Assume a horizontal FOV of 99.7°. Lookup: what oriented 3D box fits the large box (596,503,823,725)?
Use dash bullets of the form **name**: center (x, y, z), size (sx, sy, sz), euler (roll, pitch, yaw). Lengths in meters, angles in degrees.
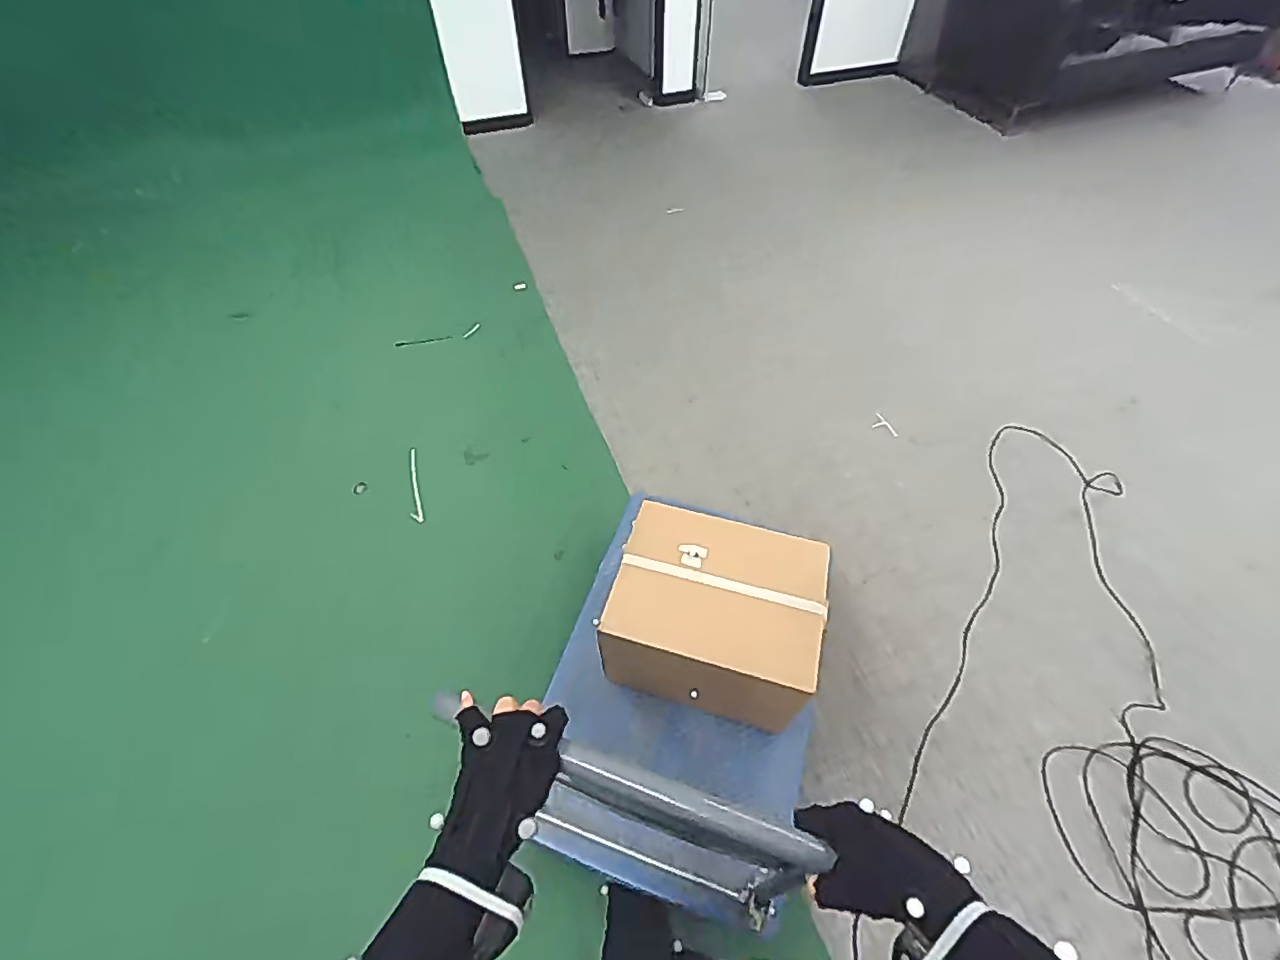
- **large box**: center (0.152, 0.297, 1.183), size (0.408, 0.320, 0.320), euler (13, 53, 11)
